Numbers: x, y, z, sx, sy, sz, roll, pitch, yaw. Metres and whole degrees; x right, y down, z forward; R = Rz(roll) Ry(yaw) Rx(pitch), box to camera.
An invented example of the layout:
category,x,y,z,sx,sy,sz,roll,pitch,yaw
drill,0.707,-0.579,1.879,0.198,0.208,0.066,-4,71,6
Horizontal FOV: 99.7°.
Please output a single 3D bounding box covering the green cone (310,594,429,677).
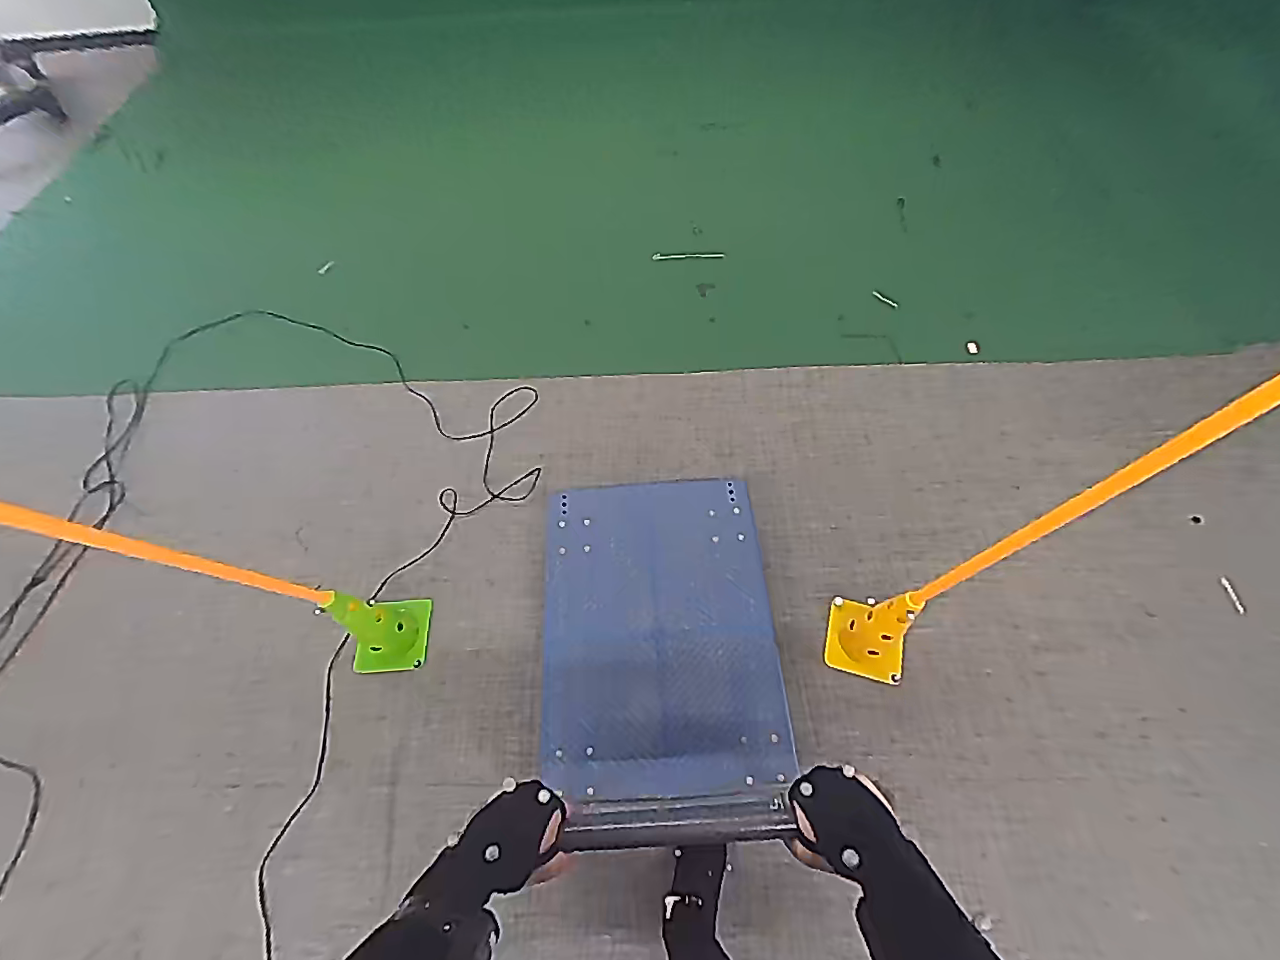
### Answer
category,x,y,z,sx,sy,sz,roll,pitch,yaw
green cone,-0.727,0.369,1.405,0.202,0.368,0.200,-6,59,2
